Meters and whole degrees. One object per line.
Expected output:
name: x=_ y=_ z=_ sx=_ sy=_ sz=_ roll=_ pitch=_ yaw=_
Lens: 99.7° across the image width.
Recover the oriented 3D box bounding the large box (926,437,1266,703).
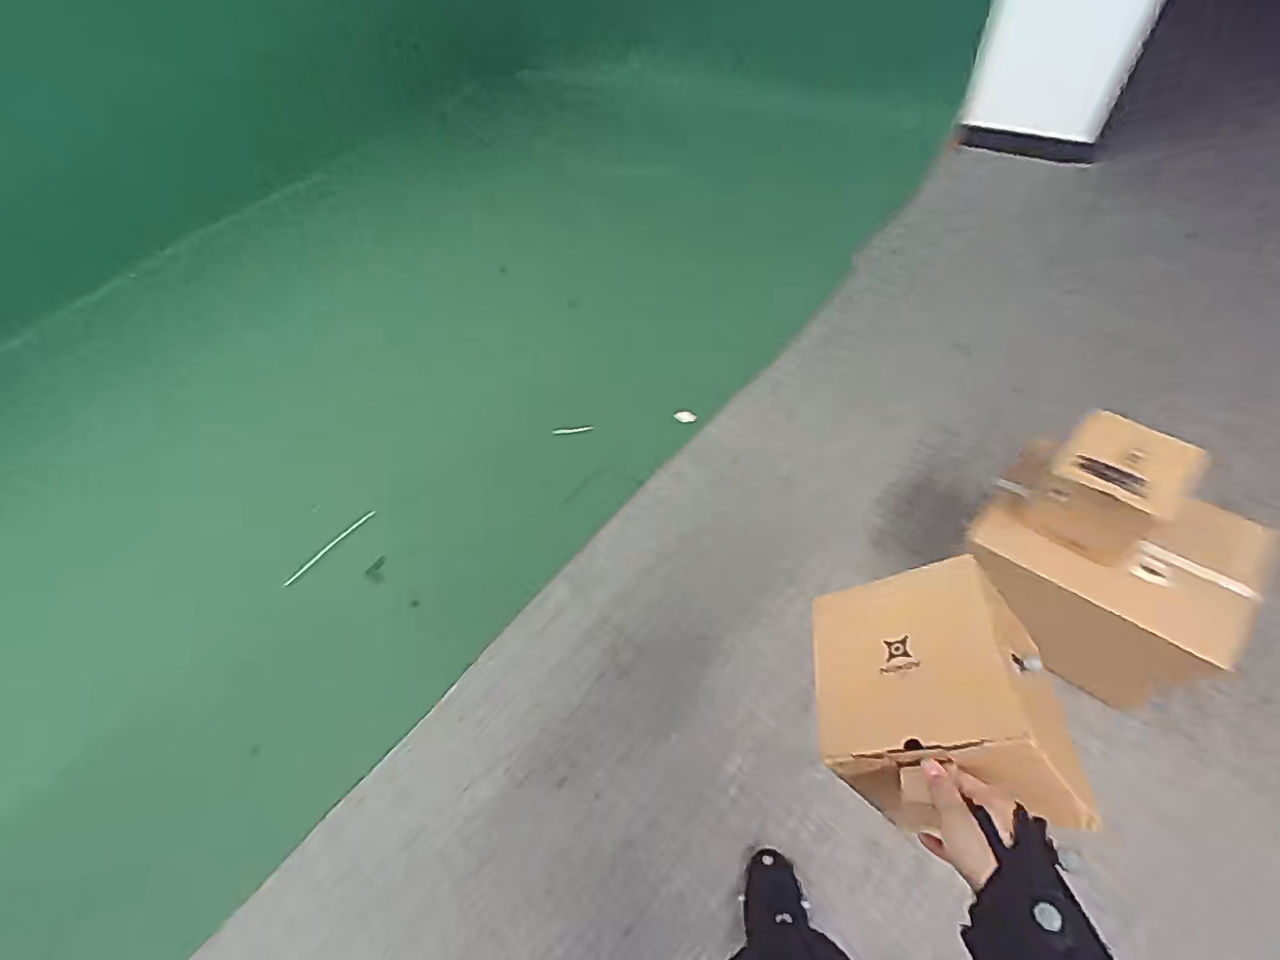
large box: x=0.894 y=0.183 z=1.123 sx=0.408 sy=0.320 sz=0.320 roll=33 pitch=69 yaw=27
